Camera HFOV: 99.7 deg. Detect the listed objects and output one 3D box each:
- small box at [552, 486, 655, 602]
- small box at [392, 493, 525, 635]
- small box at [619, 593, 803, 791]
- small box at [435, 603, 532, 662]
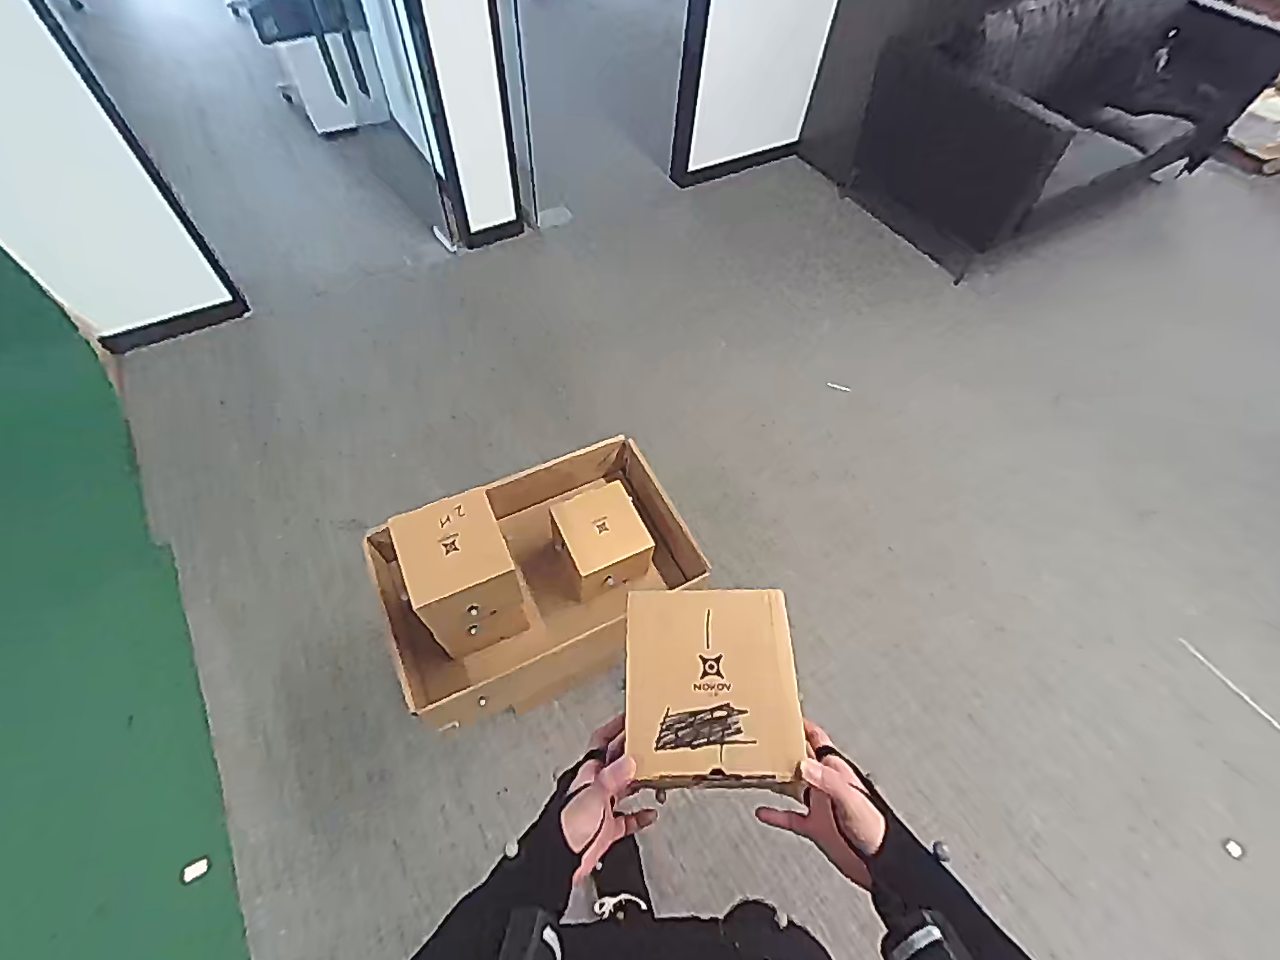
[{"bbox_3d":[-0.080,0.148,1.180,0.168,0.176,0.179,-21,61,-16],"label":"small box"},{"bbox_3d":[-0.314,0.157,0.959,0.168,0.176,0.179,-20,61,-17],"label":"small box"},{"bbox_3d":[0.069,0.235,0.589,0.168,0.176,0.179,-1,57,2],"label":"small box"},{"bbox_3d":[-0.329,0.242,1.099,0.168,0.176,0.179,-20,60,-15],"label":"small box"}]
